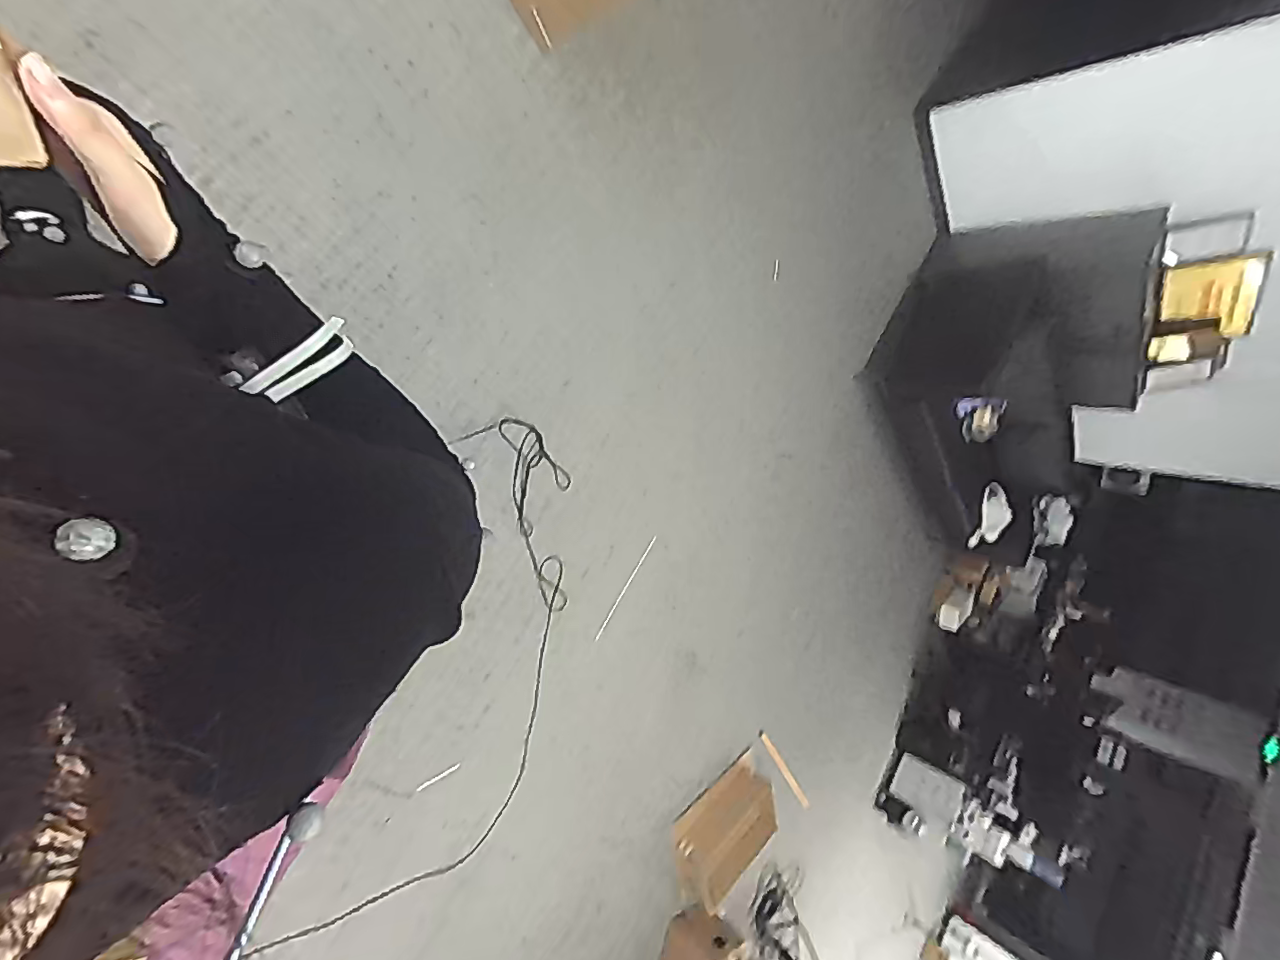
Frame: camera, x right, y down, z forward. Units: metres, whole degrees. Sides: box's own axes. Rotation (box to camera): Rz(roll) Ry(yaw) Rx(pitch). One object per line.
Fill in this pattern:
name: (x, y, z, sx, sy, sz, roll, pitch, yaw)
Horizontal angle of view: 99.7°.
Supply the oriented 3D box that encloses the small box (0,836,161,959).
small box: (-0.630, 0.492, 0.538, 0.168, 0.176, 0.179, 39, 77, -42)
